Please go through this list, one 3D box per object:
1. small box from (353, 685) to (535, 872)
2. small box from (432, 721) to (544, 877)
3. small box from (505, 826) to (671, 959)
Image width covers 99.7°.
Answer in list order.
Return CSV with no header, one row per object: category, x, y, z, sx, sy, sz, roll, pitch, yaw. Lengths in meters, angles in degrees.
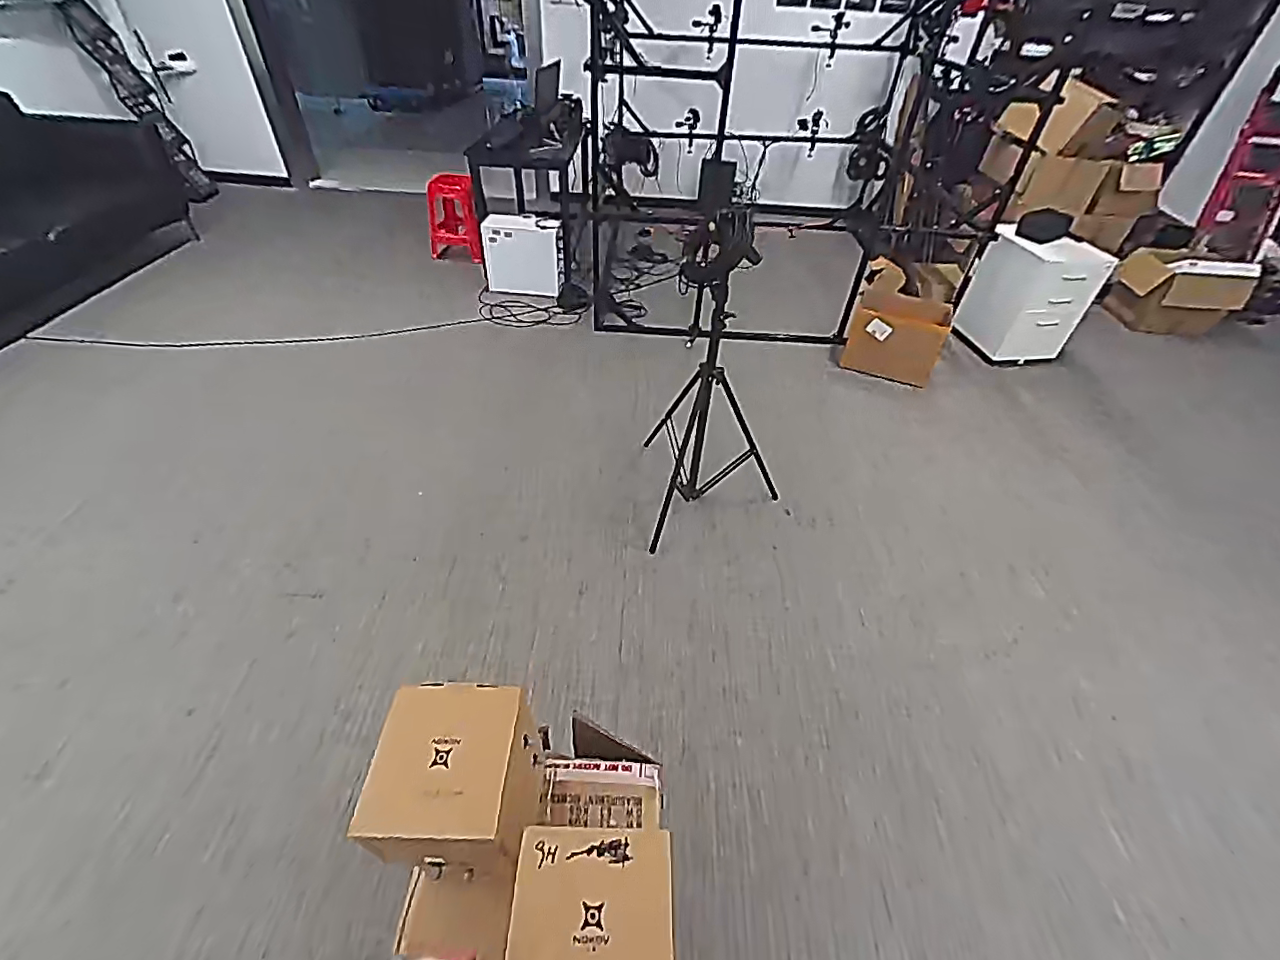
small box,-0.236,0.390,0.708,0.168,0.176,0.179,1,46,0
small box,-0.246,0.491,0.837,0.168,0.176,0.179,1,45,0
small box,-0.052,0.506,0.598,0.168,0.176,0.179,2,45,-1
